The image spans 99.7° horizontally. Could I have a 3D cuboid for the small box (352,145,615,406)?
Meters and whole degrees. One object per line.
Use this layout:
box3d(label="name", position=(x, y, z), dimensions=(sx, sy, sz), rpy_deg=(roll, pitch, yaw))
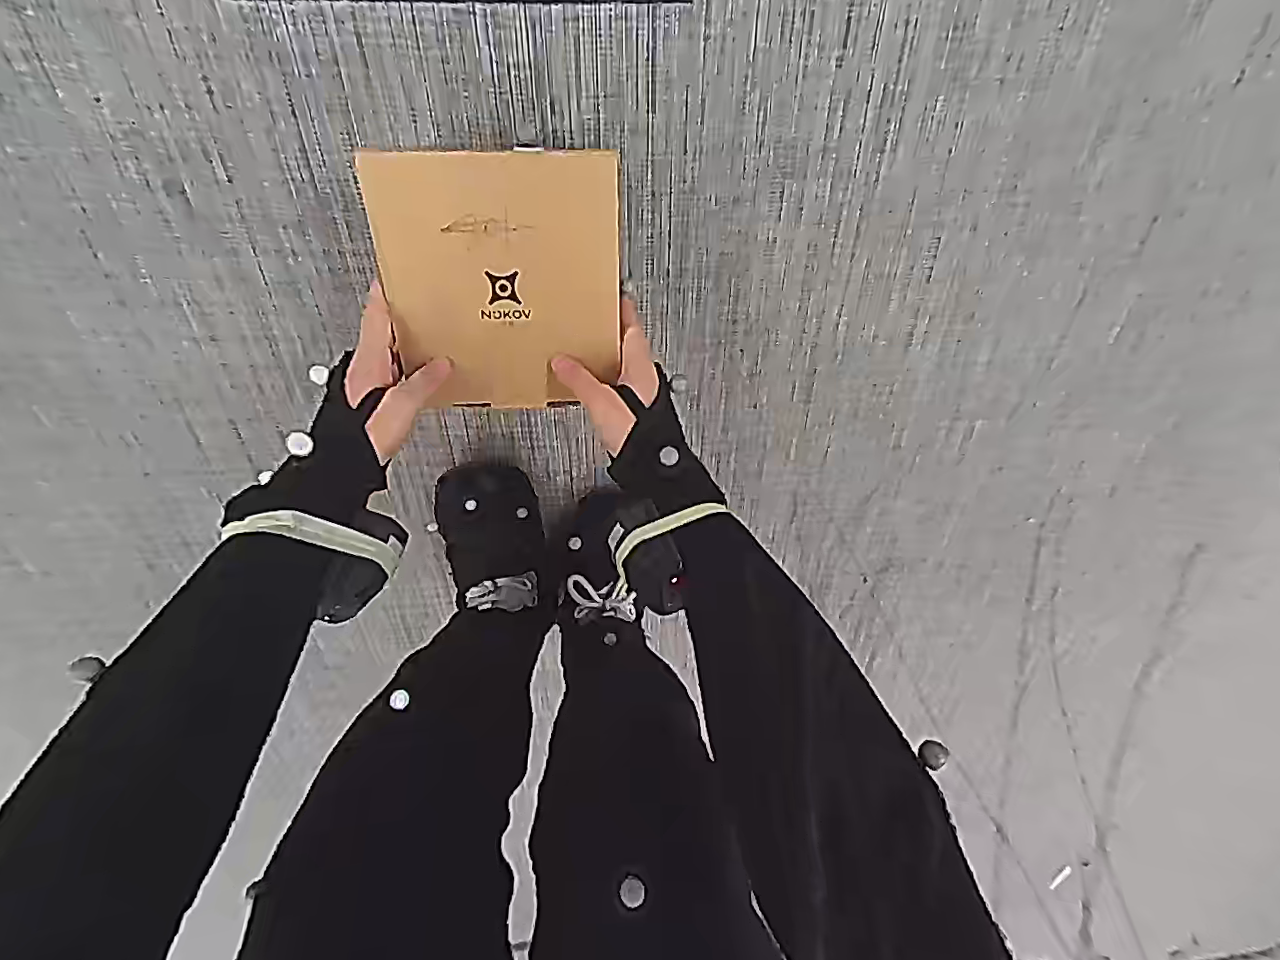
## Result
box3d(label="small box", position=(-0.106, -0.177, 0.454), dimensions=(0.168, 0.176, 0.179), rpy_deg=(-3, 122, -4))
